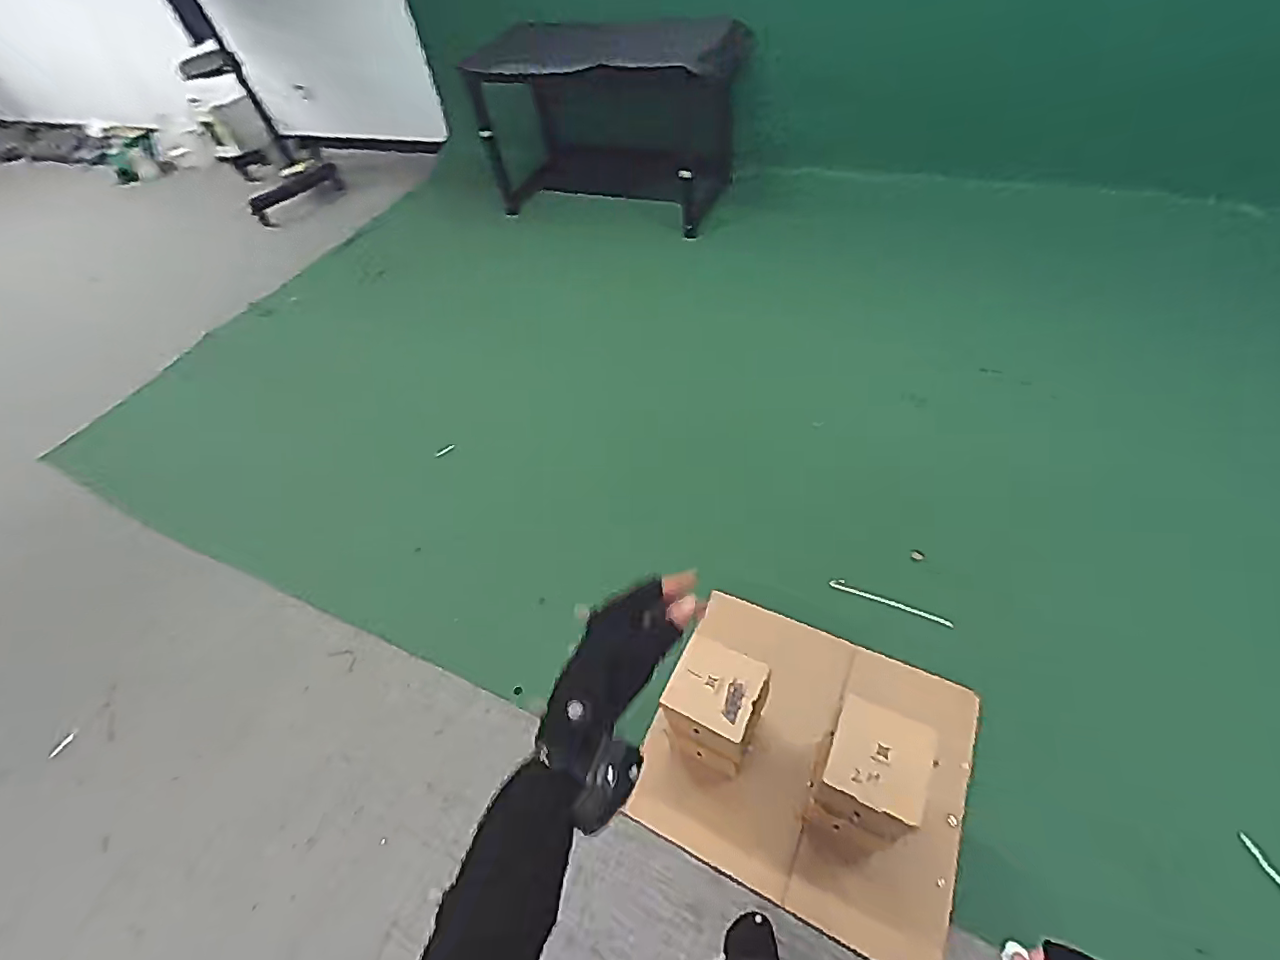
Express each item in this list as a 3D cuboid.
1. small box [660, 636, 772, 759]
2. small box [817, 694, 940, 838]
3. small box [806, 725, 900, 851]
[{"bbox_3d":[0.165,0.464,1.143,0.179,0.176,0.168,19,57,25],"label":"small box"},{"bbox_3d":[0.447,0.547,1.032,0.168,0.176,0.179,18,57,23],"label":"small box"},{"bbox_3d":[0.462,0.658,1.155,0.168,0.176,0.179,16,57,21],"label":"small box"}]
